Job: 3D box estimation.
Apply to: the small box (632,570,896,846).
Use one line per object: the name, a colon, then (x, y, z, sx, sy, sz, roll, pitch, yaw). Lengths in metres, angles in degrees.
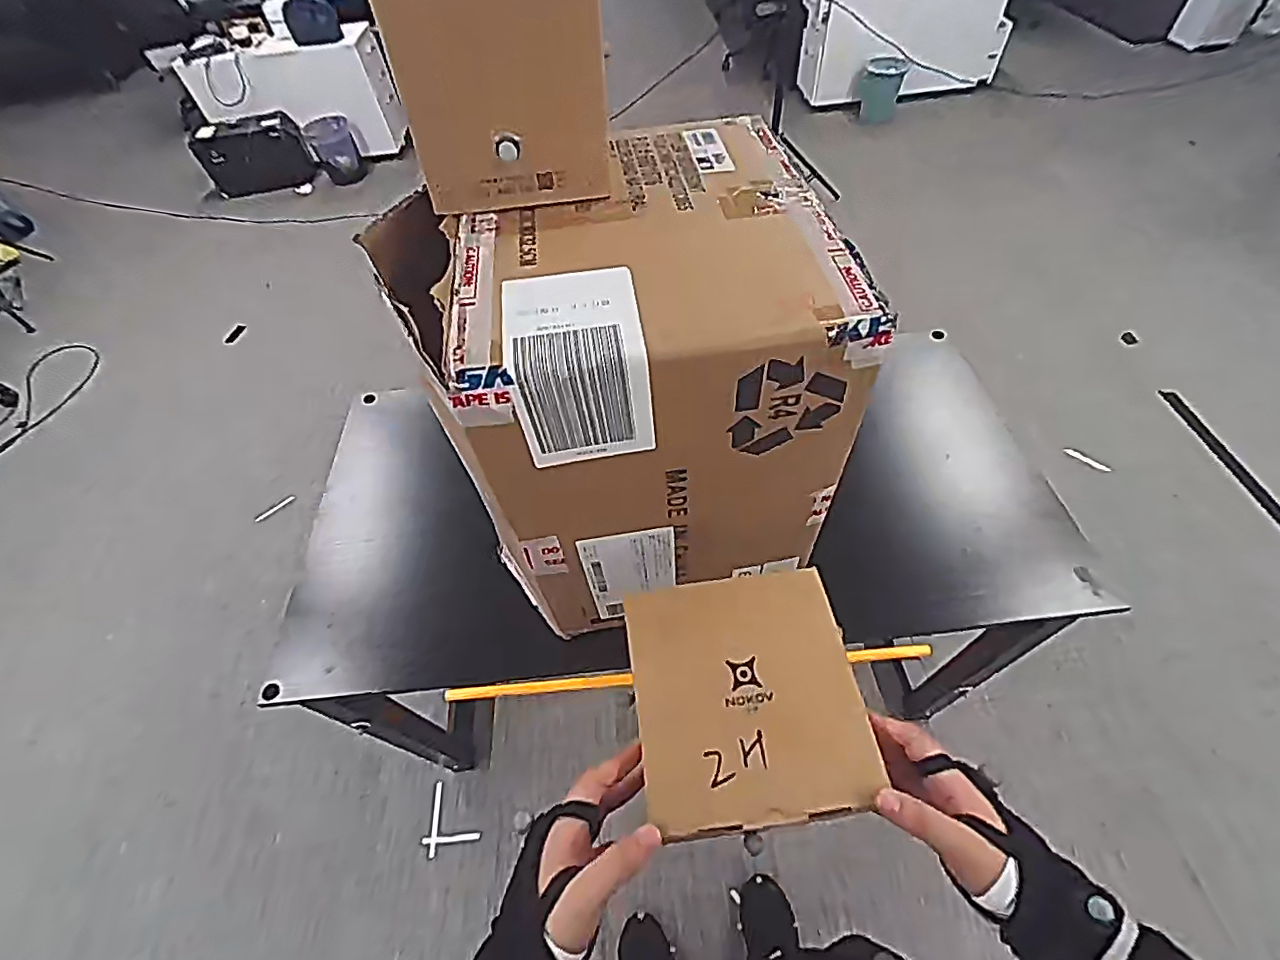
small box: (0.083, 0.200, 0.468, 0.168, 0.176, 0.179, -7, 54, -2)

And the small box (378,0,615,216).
small box: (-0.118, -0.365, 0.491, 0.168, 0.176, 0.179, -9, 52, -5)
